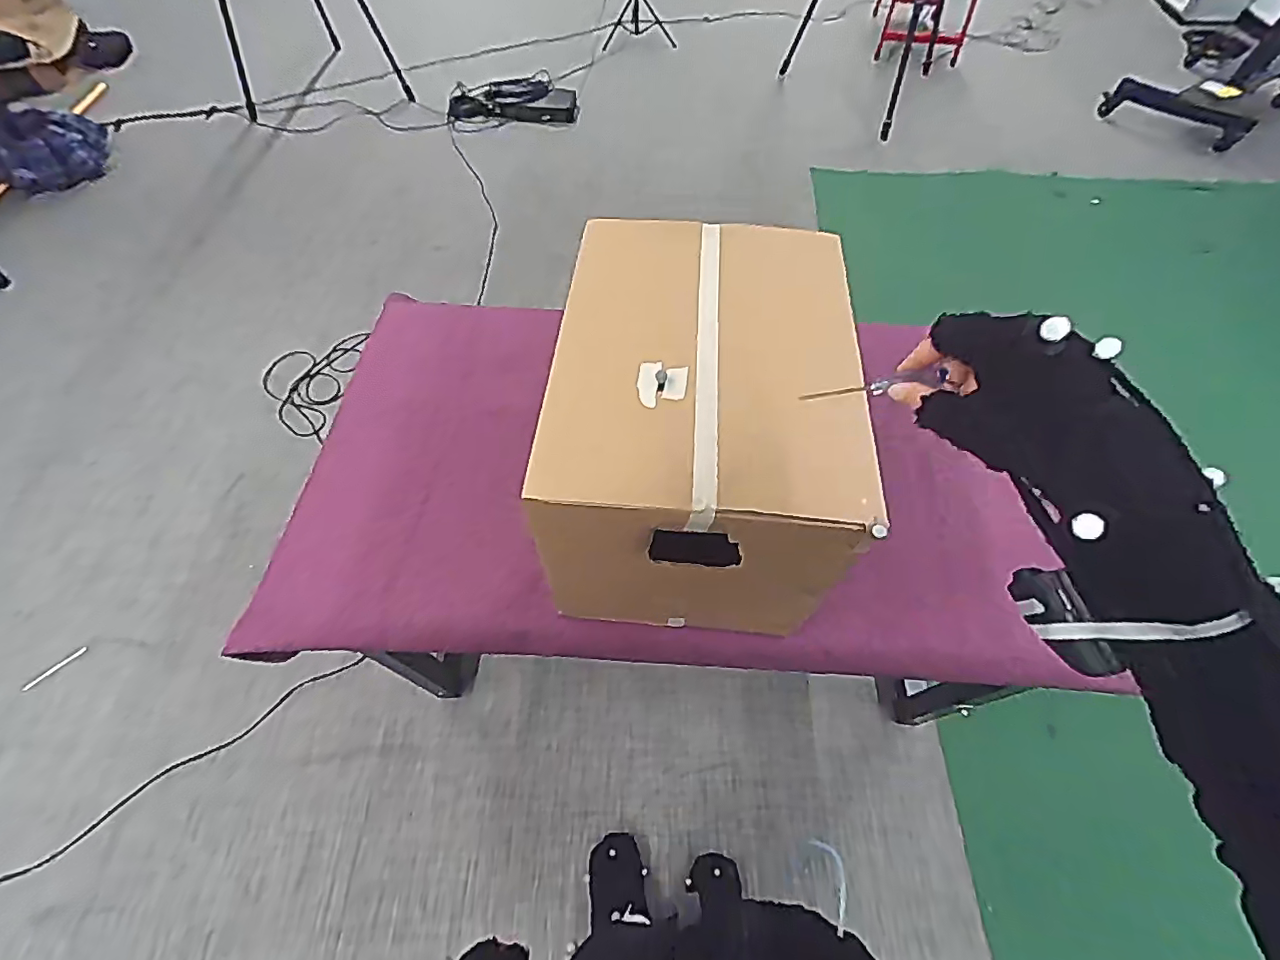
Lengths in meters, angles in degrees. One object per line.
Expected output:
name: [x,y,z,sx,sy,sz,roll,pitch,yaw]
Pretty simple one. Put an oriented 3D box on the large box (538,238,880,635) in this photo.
large box: [0.071,-0.049,0.706,0.320,0.320,0.408,5,58,2]
